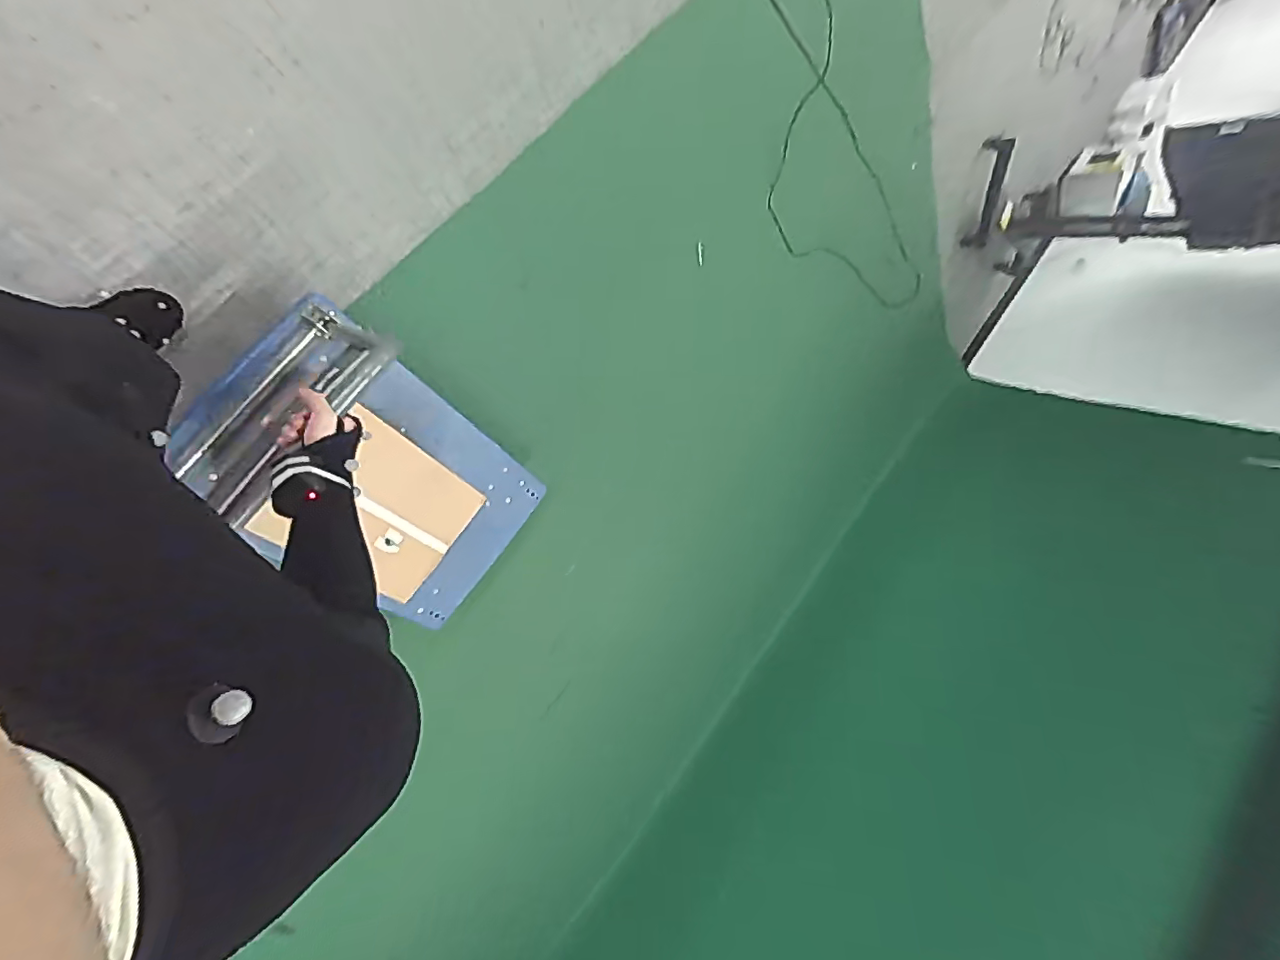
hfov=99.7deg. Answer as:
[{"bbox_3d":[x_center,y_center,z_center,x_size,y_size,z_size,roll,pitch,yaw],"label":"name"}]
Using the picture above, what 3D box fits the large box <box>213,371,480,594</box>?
[{"bbox_3d":[-0.675,0.004,1.267,0.320,0.320,0.408,-54,136,-11],"label":"large box"}]
